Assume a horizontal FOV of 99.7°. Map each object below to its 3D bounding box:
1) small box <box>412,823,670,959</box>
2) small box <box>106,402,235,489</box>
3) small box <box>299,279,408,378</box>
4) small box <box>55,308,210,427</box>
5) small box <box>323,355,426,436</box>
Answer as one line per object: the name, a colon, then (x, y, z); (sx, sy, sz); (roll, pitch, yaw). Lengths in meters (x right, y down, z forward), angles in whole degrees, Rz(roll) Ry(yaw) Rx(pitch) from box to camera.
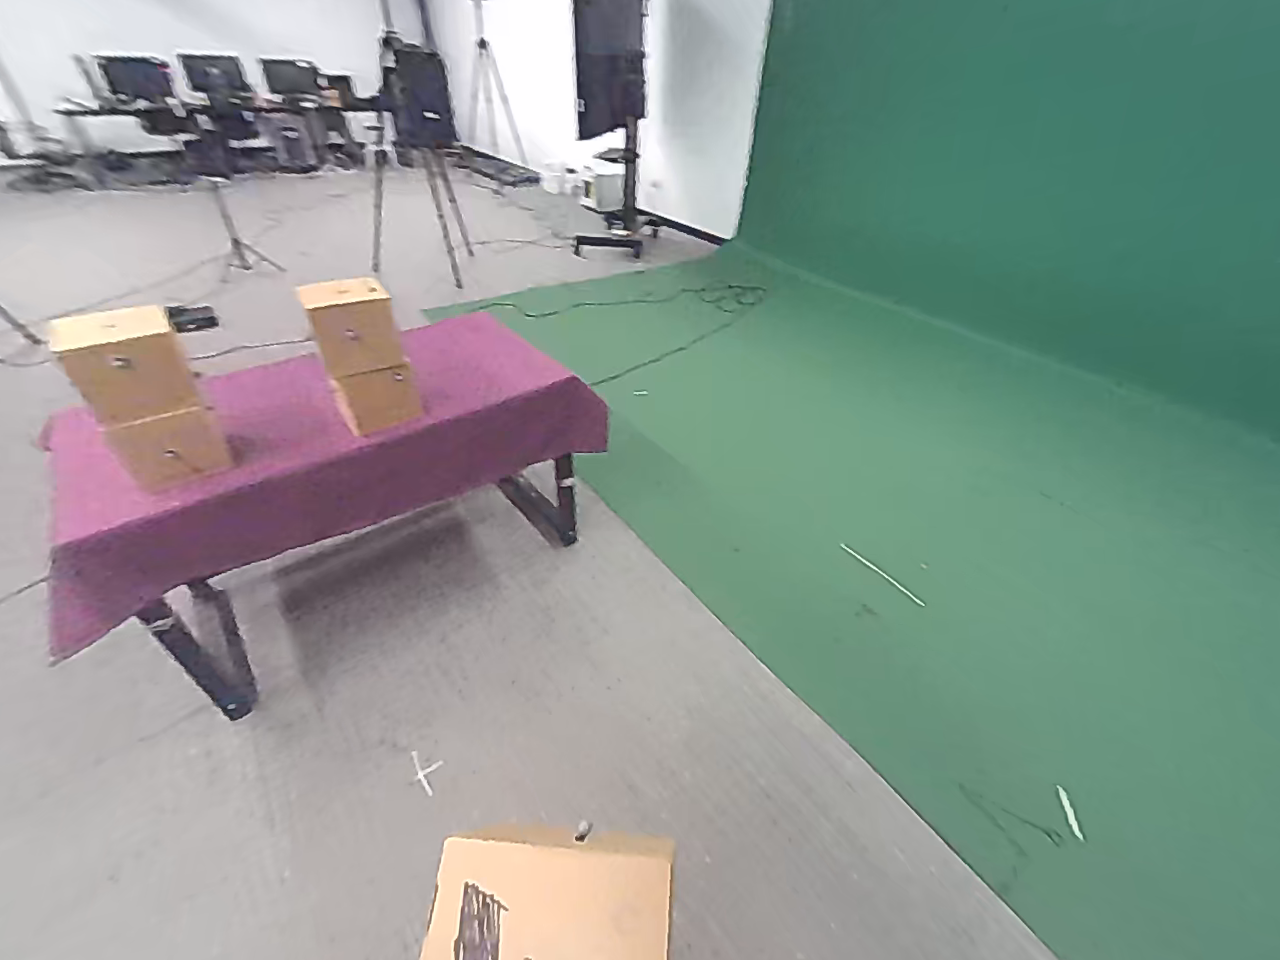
small box: (-0.069, 0.382, 0.436); (0.179, 0.176, 0.168); (2, 60, 5)
small box: (-1.038, -0.100, 1.205); (0.168, 0.176, 0.179); (-23, 45, -29)
small box: (-0.680, -0.362, 1.291); (0.179, 0.176, 0.168); (-21, 44, -26)
small box: (-1.028, -0.230, 1.107); (0.179, 0.176, 0.168); (-24, 47, -30)
small box: (-0.682, -0.237, 1.399); (0.179, 0.176, 0.168); (-24, 46, -30)
